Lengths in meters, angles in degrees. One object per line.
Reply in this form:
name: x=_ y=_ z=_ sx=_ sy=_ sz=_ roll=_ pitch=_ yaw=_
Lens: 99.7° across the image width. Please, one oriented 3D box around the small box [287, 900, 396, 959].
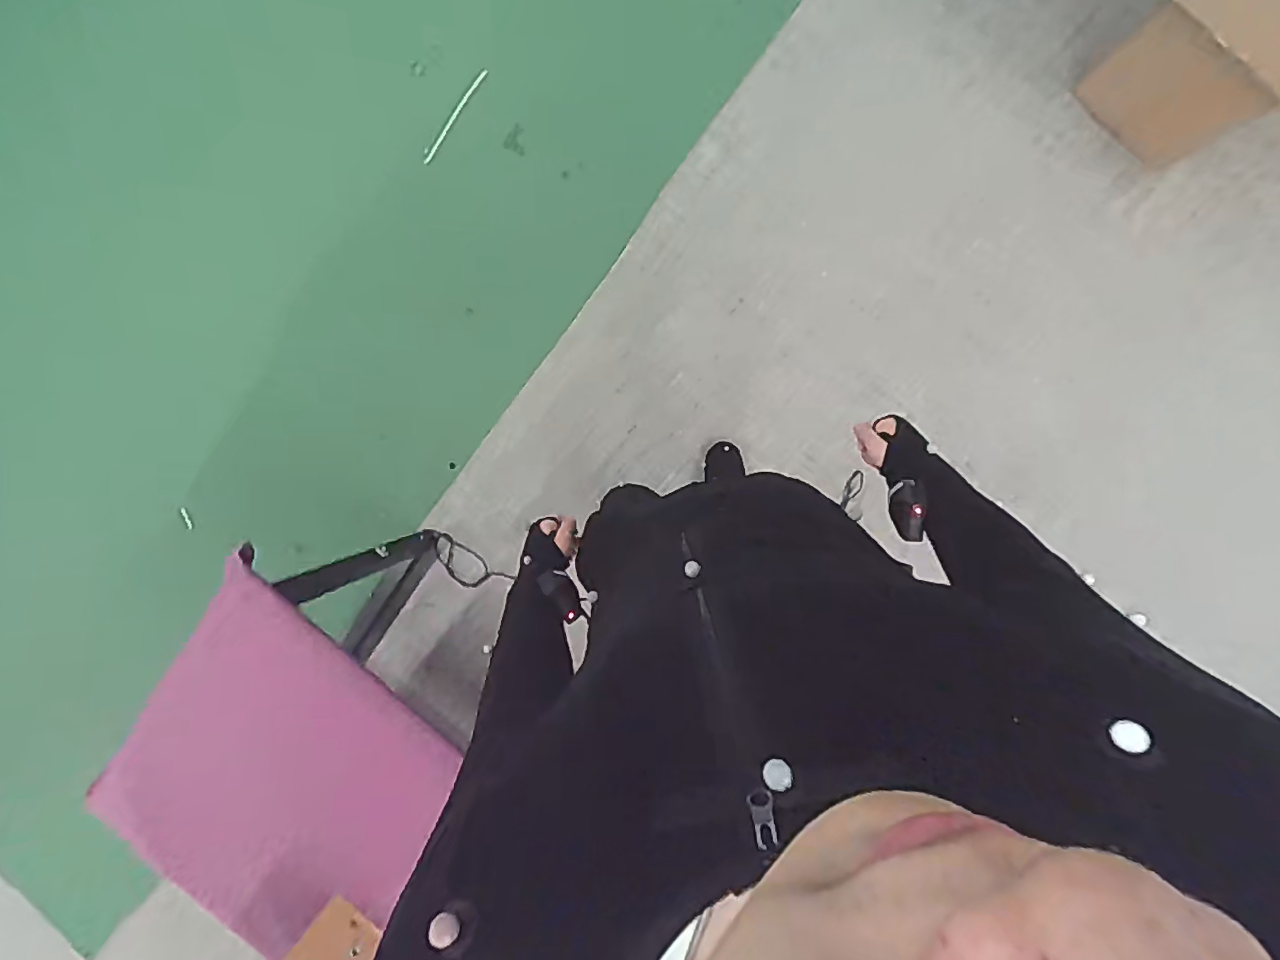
small box: x=-0.585 y=0.937 z=0.985 sx=0.168 sy=0.176 sz=0.179 roll=37 pitch=98 yaw=3
